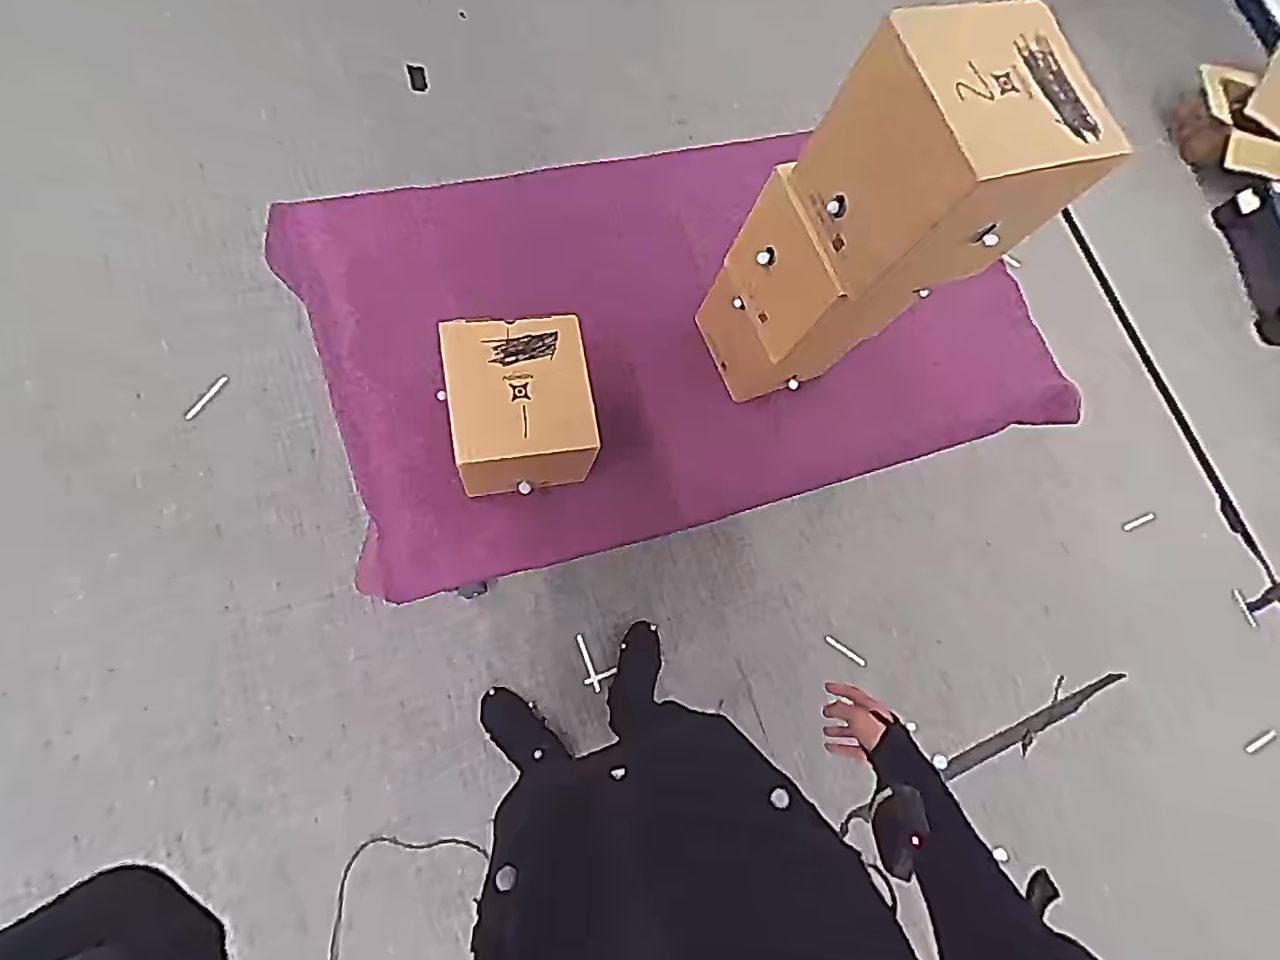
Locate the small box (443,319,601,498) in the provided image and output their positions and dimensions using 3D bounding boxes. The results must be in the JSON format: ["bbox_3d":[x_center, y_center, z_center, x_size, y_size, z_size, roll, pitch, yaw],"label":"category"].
[{"bbox_3d":[-0.155,-0.087,0.705,0.168,0.176,0.179,-8,78,-14],"label":"small box"}]

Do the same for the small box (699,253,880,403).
[{"bbox_3d":[0.216,-0.241,0.824,0.179,0.176,0.168,-20,80,-17],"label":"small box"}]

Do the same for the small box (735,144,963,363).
[{"bbox_3d":[0.235,-0.266,0.663,0.179,0.176,0.168,-20,80,-17],"label":"small box"}]
